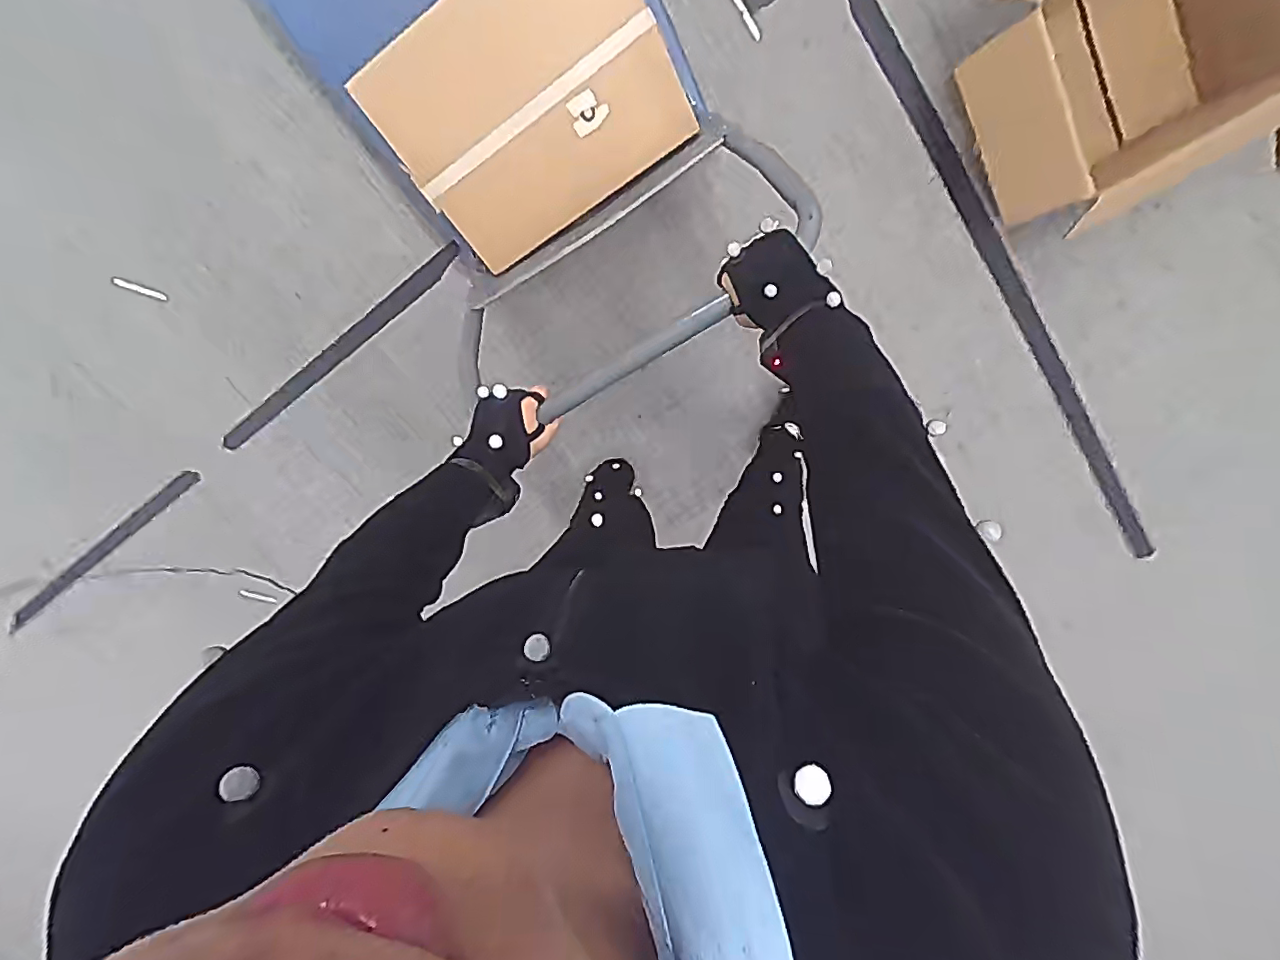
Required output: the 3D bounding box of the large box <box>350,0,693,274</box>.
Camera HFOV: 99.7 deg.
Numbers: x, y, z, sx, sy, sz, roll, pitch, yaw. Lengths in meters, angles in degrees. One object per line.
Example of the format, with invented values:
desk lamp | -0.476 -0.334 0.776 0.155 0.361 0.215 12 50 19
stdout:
large box | -0.182 -0.627 0.900 0.408 0.320 0.320 -31 128 13
